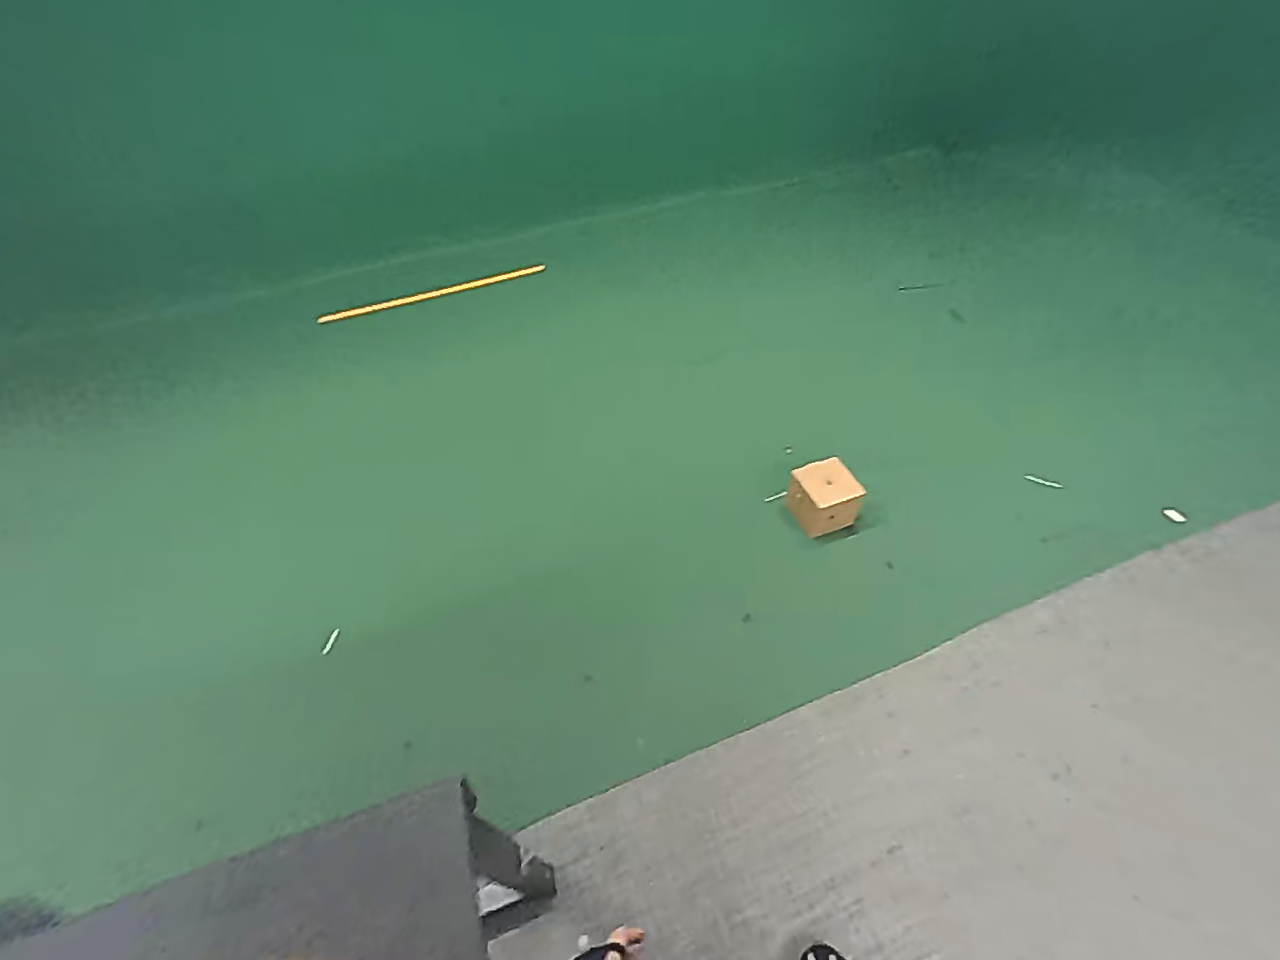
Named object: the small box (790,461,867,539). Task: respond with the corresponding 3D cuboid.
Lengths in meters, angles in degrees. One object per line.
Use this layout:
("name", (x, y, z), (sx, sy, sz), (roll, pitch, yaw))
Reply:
("small box", (0.615, 0.072, 1.784), (0.168, 0.176, 0.179), (-18, 48, -10))
